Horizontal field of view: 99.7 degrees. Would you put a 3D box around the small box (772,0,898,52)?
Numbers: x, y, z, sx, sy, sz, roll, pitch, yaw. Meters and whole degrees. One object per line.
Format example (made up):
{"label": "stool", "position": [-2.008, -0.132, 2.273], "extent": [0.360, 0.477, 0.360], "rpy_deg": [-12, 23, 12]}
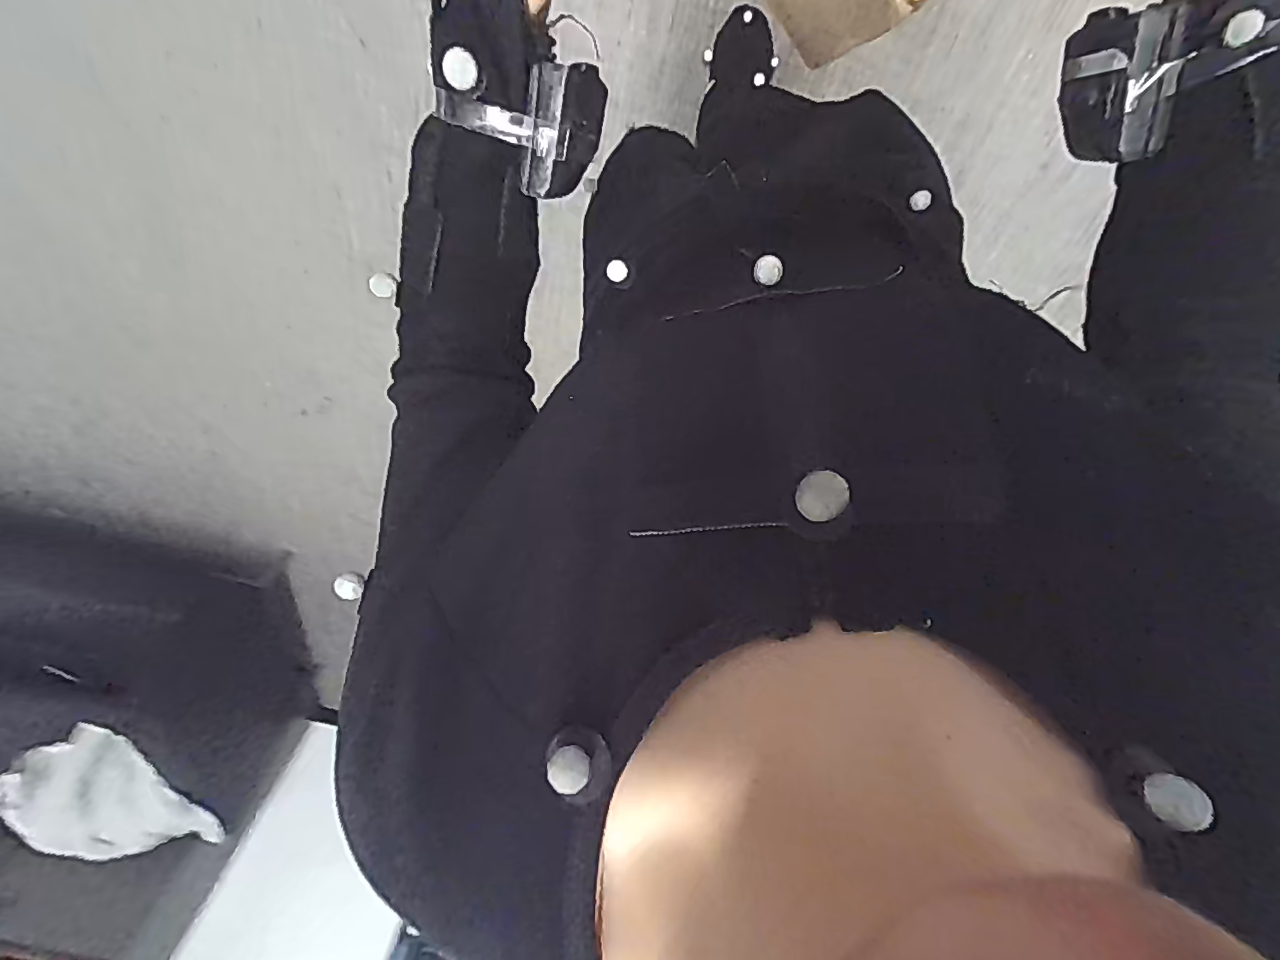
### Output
{"label": "small box", "position": [0.089, -0.274, 0.159], "extent": [0.179, 0.176, 0.168], "rpy_deg": [-36, 112, 27]}
